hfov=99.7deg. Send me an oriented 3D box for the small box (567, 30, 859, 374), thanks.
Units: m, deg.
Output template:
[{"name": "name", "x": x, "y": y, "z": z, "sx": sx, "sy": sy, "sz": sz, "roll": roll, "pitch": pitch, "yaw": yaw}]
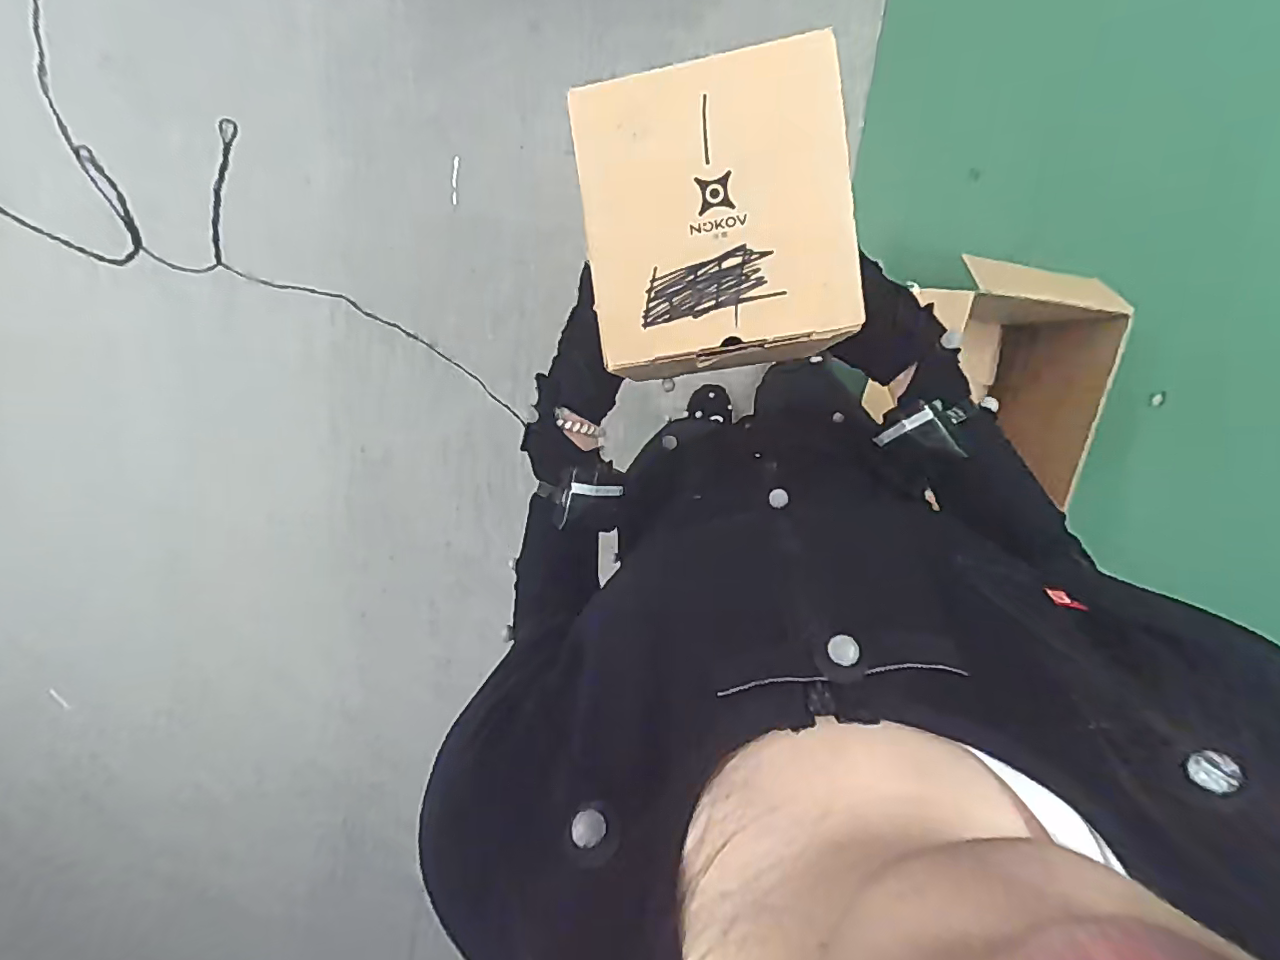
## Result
[{"name": "small box", "x": 0.055, "y": -0.180, "z": 0.415, "sx": 0.168, "sy": 0.176, "sz": 0.179, "roll": -8, "pitch": 96, "yaw": 7}]
